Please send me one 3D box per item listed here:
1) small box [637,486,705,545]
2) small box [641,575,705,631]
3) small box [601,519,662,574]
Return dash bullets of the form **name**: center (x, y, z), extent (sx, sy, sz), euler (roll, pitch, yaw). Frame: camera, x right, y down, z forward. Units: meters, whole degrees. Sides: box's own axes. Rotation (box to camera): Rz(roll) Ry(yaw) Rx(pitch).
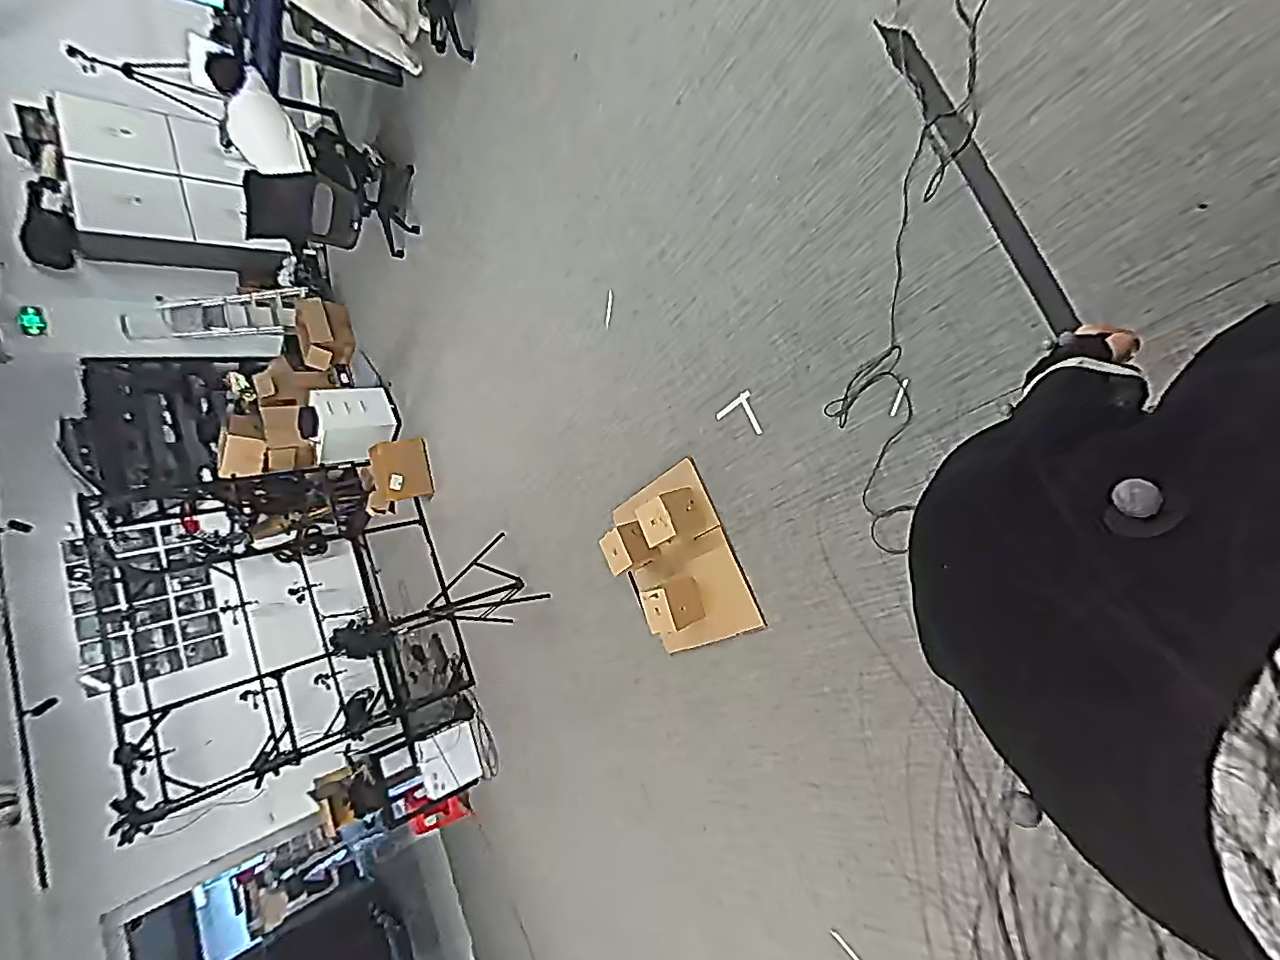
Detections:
- **small box**: center (0.123, 0.140, 2.125), extent (0.179, 0.176, 0.168), euler (-35, 73, 47)
- **small box**: center (0.137, 0.499, 2.195), extent (0.168, 0.176, 0.179), euler (-23, 83, 49)
- **small box**: center (-0.035, 0.283, 2.348), extent (0.168, 0.176, 0.179), euler (-43, 66, 47)
